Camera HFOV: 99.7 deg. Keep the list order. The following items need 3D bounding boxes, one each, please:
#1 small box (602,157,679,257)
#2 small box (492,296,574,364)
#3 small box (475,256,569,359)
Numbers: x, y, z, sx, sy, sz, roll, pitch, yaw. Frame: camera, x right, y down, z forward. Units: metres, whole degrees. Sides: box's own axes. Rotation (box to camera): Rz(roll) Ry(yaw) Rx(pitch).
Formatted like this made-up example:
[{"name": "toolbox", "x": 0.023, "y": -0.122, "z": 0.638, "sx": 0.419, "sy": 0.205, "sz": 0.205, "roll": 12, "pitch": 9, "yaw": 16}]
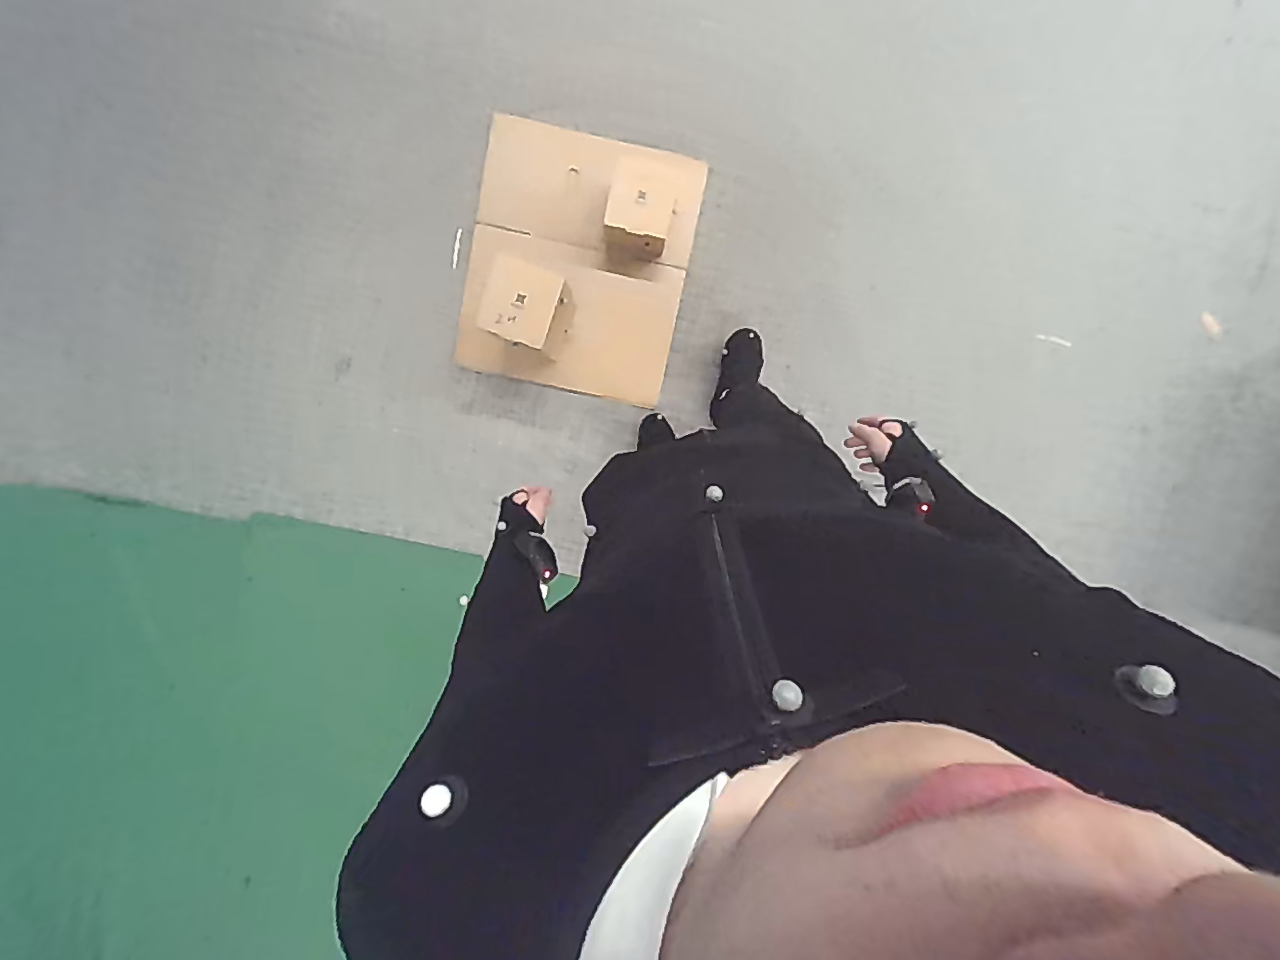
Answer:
[{"name": "small box", "x": 0.000, "y": -0.714, "z": 1.435, "sx": 0.168, "sy": 0.176, "sz": 0.179, "roll": 13, "pitch": 98, "yaw": -3}, {"name": "small box", "x": -0.285, "y": -0.428, "z": 1.469, "sx": 0.168, "sy": 0.176, "sz": 0.179, "roll": 20, "pitch": 97, "yaw": -3}, {"name": "small box", "x": -0.275, "y": -0.407, "z": 1.305, "sx": 0.168, "sy": 0.176, "sz": 0.179, "roll": 19, "pitch": 97, "yaw": -3}]
